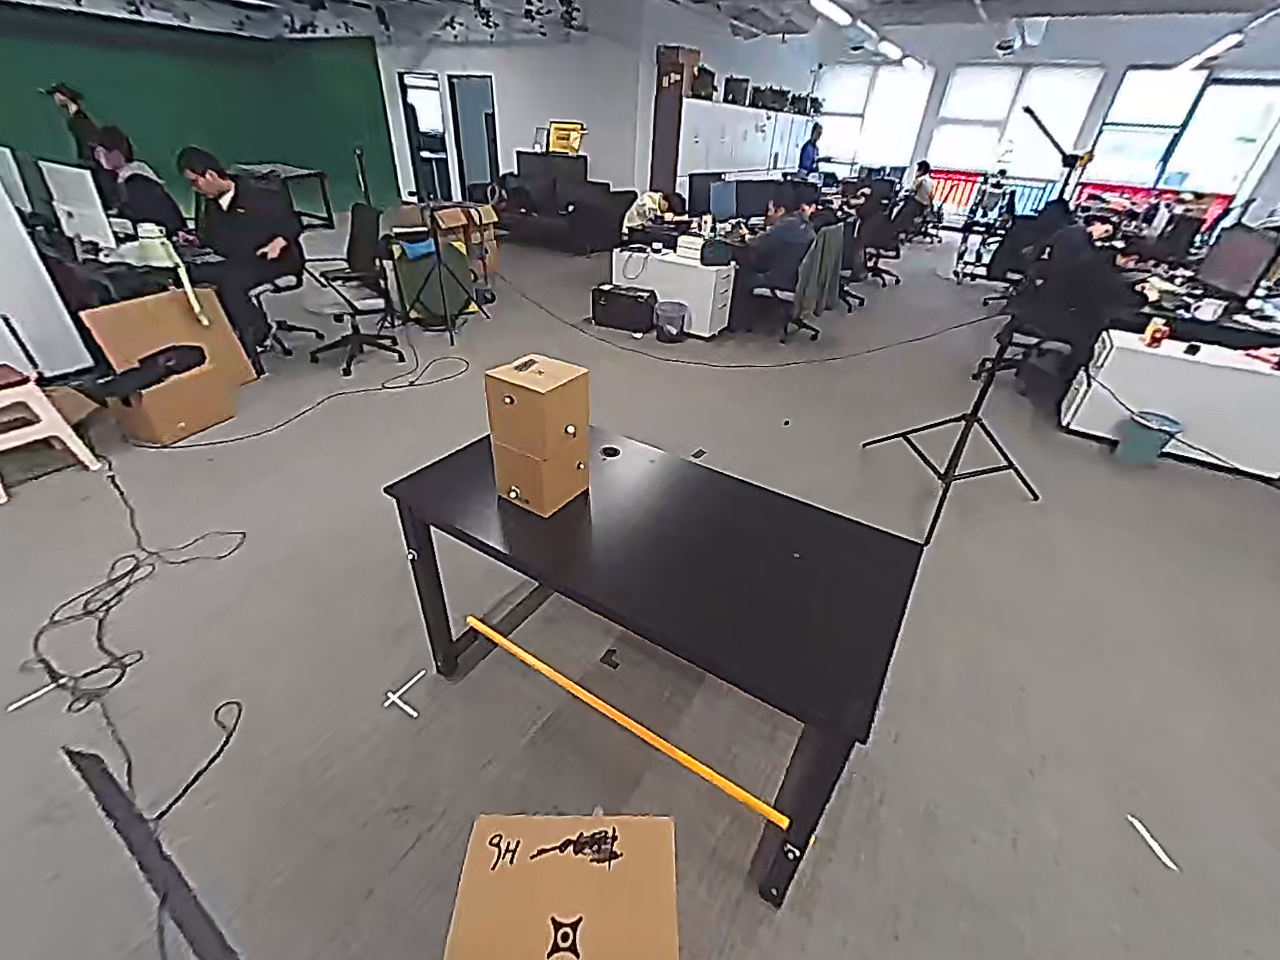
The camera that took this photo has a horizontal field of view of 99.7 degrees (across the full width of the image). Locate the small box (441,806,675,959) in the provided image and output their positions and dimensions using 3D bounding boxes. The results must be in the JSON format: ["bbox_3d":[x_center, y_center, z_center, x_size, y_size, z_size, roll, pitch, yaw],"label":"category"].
[{"bbox_3d":[-0.056,0.387,0.432,0.168,0.176,0.179,1,40,0],"label":"small box"}]

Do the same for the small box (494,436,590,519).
[{"bbox_3d":[-0.242,-0.032,1.360,0.168,0.176,0.179,20,37,26],"label":"small box"}]

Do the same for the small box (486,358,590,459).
[{"bbox_3d":[-0.235,-0.169,1.270,0.179,0.176,0.168,20,36,24],"label":"small box"}]
